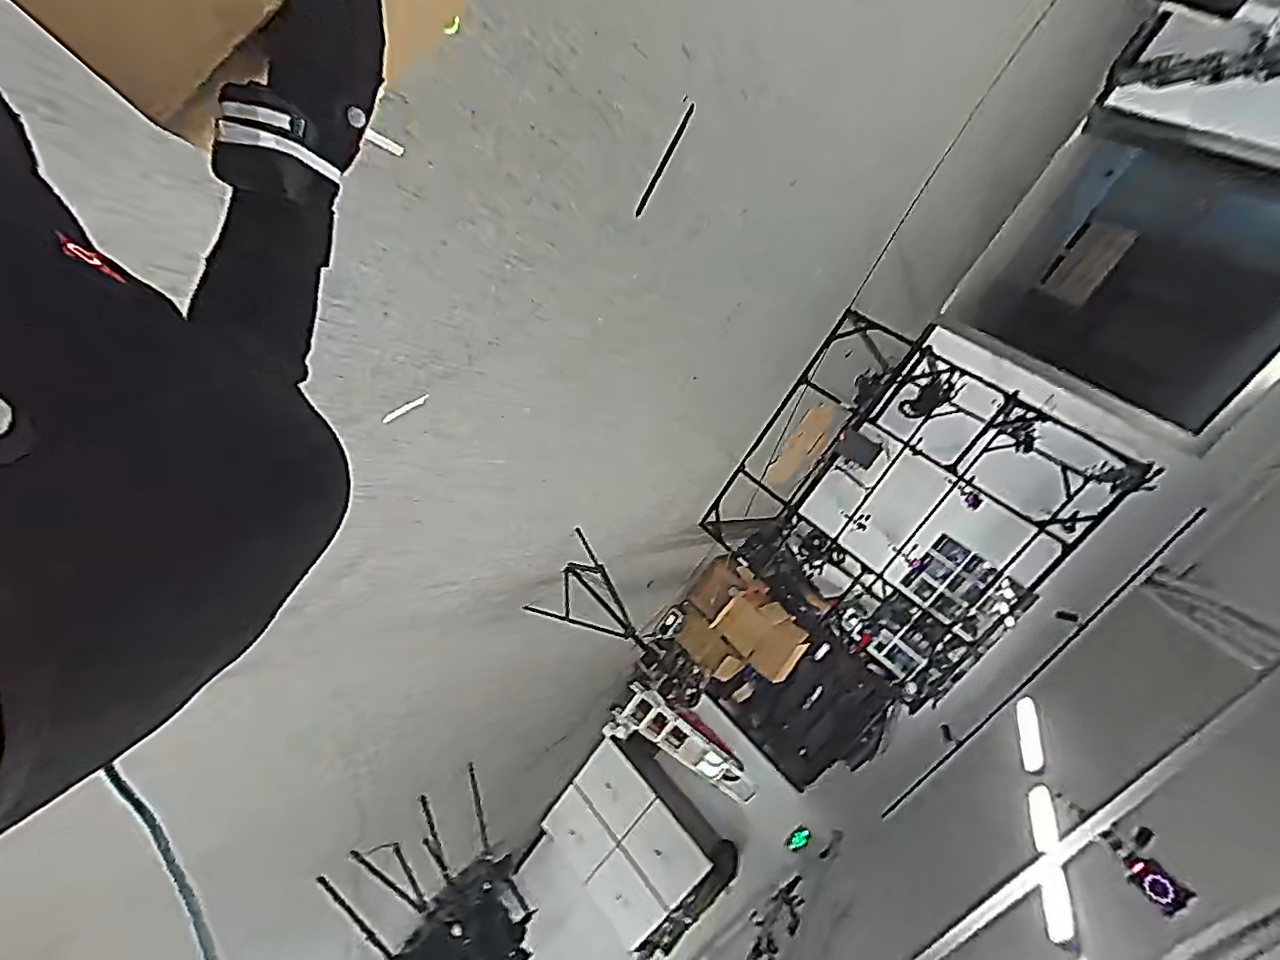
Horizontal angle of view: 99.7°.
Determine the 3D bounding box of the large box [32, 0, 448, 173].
[{"bbox_3d":[-0.402,-0.538,0.422,0.320,0.320,0.408,-45,118,4],"label":"large box"}]
